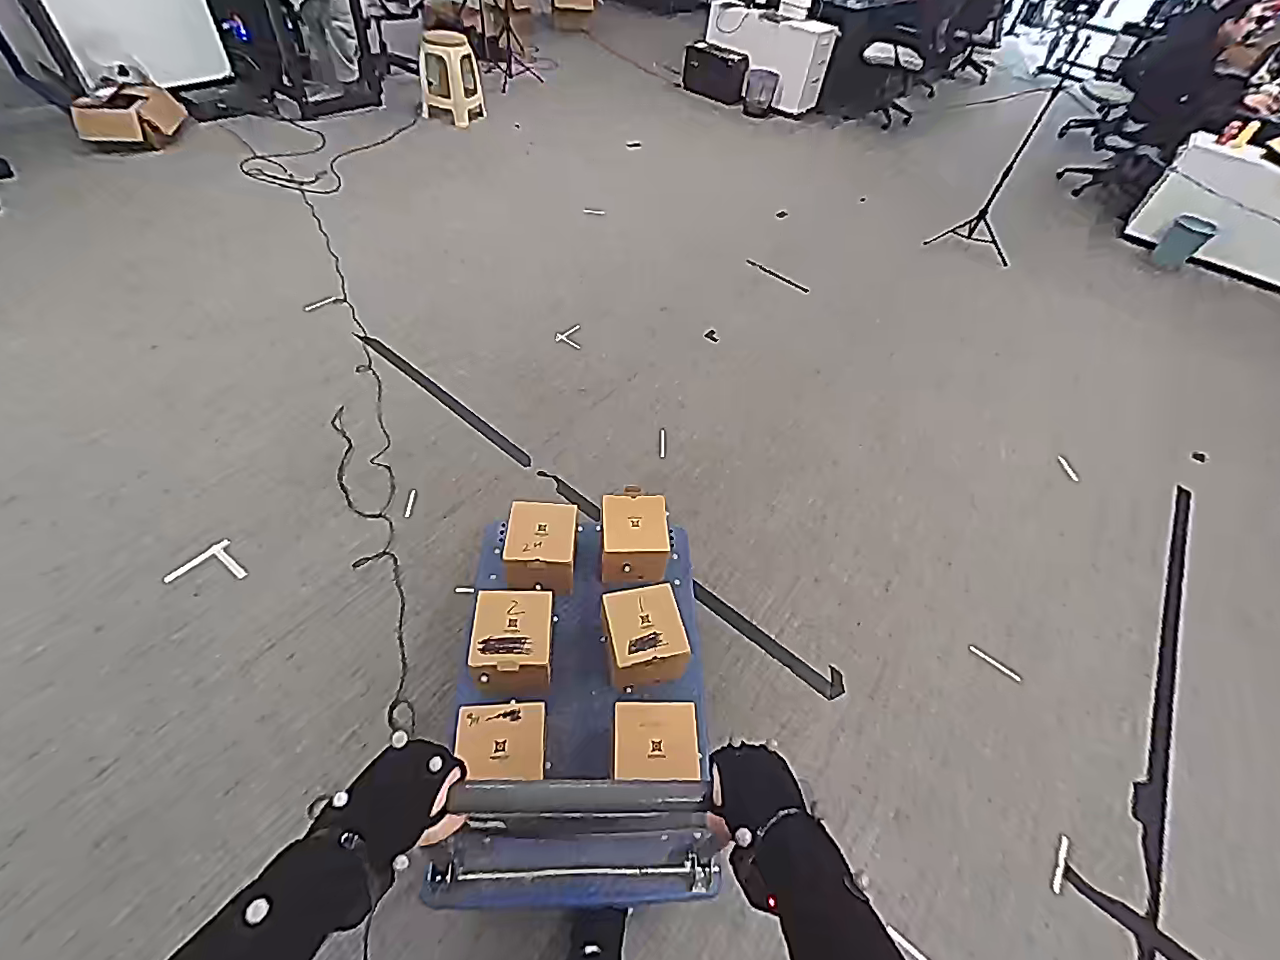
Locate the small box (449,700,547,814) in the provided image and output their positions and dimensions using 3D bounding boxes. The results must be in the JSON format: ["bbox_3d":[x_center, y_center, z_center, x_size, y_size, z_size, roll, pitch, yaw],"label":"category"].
[{"bbox_3d":[-0.274,0.557,1.080,0.168,0.176,0.179,1,51,-9],"label":"small box"}]

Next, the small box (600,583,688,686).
[{"bbox_3d":[0.002,0.369,1.276,0.168,0.176,0.179,-7,51,-13],"label":"small box"}]

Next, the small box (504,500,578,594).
[{"bbox_3d":[-0.251,0.175,1.399,0.168,0.176,0.179,4,51,-4],"label":"small box"}]

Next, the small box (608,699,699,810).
[{"bbox_3d":[0.022,0.569,1.114,0.168,0.176,0.179,4,49,-6],"label":"small box"}]

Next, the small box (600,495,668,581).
[{"bbox_3d":[-0.021,0.159,1.448,0.168,0.176,0.179,0,51,-8],"label":"small box"}]
